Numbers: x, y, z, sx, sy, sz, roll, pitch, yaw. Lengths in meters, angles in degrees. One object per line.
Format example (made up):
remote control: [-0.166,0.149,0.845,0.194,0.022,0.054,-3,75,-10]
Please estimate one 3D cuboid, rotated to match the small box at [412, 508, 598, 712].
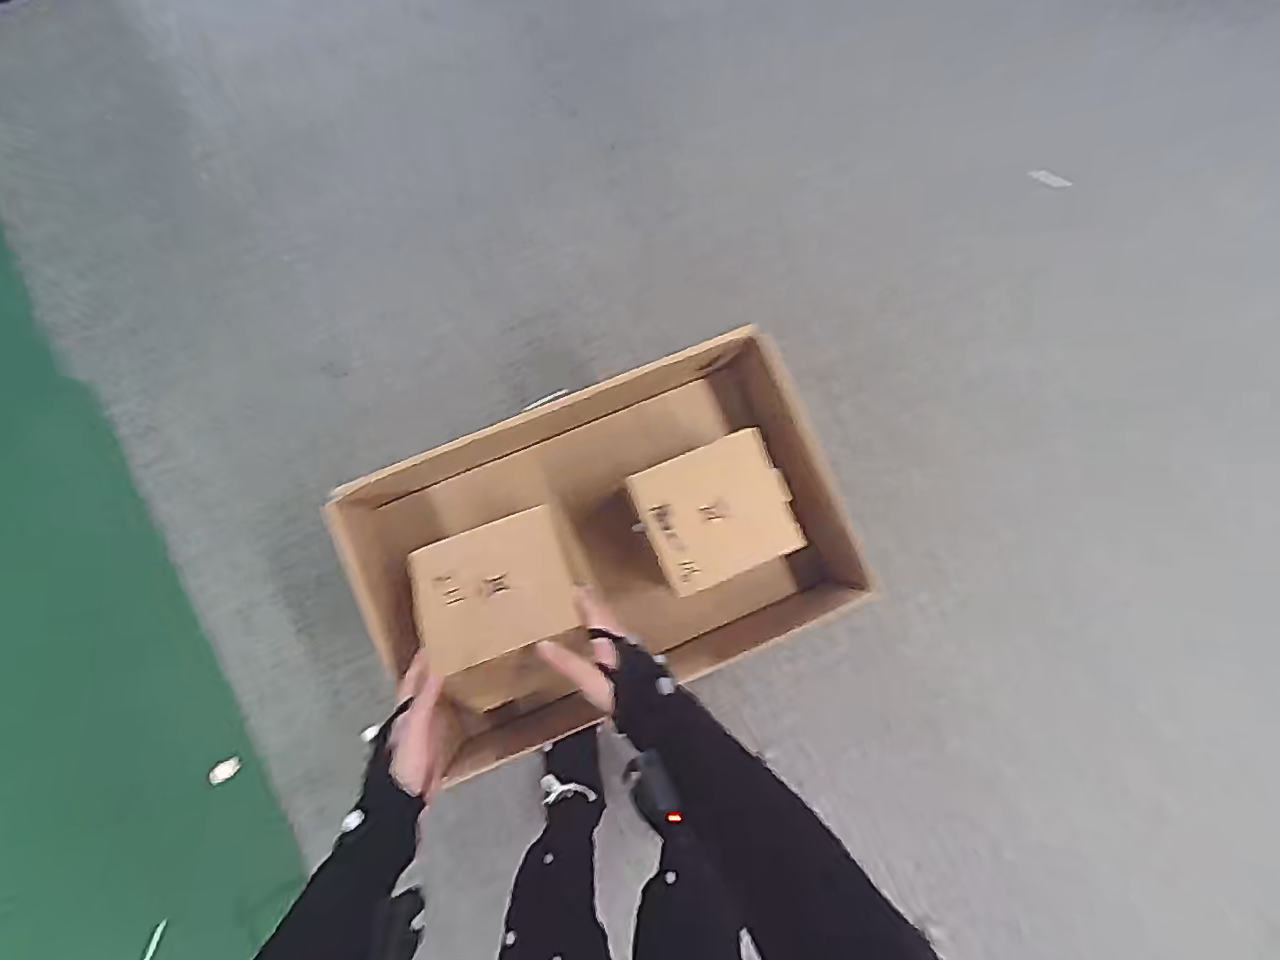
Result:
small box: [-0.160,0.168,0.681,0.179,0.176,0.168,-20,55,-6]
